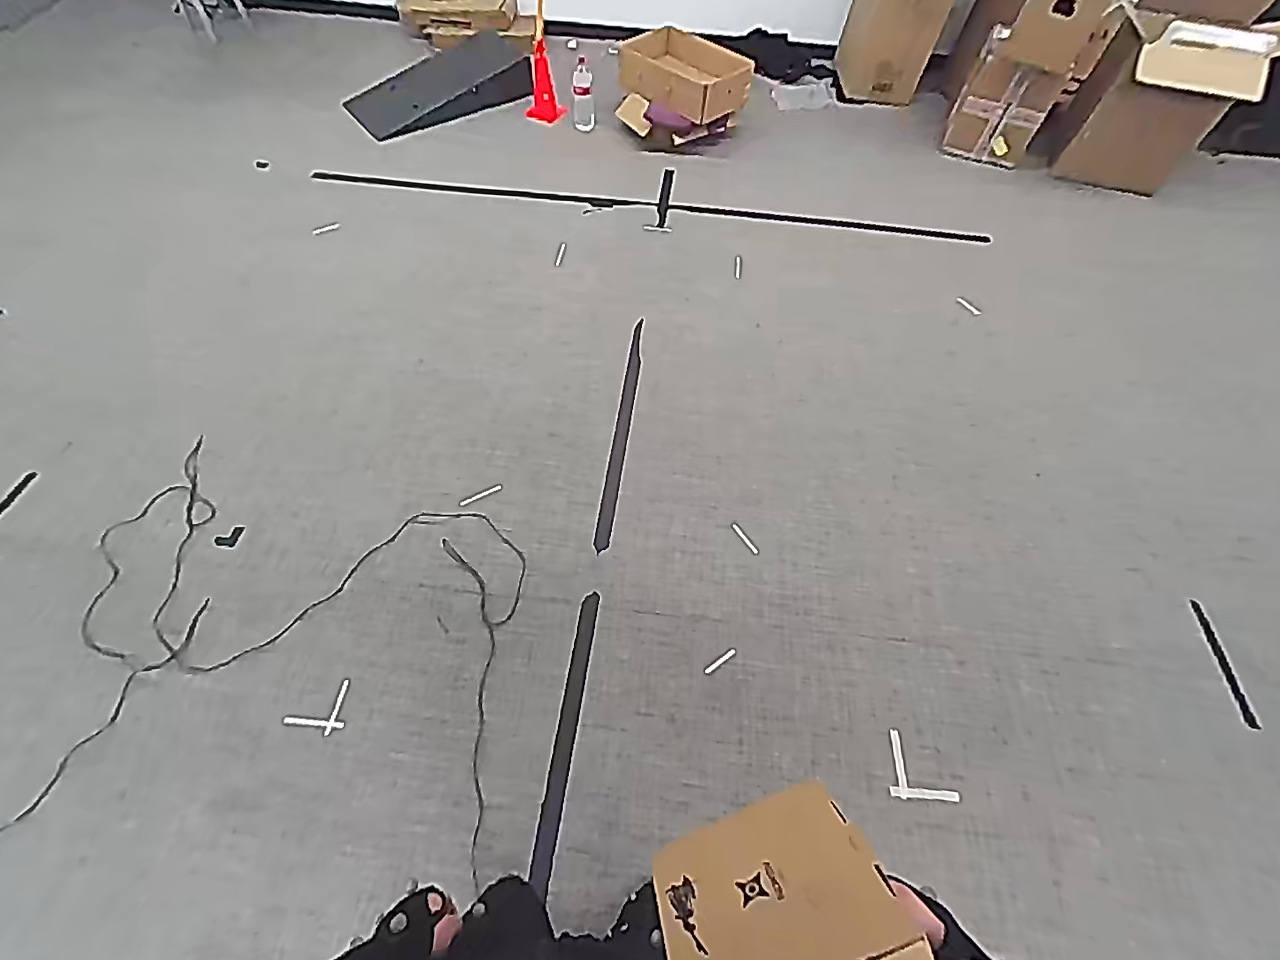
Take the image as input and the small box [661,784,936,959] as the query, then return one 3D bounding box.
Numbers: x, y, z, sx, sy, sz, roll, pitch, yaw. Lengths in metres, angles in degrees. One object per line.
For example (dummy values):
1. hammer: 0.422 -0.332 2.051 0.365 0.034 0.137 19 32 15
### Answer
1. small box: 0.136 0.410 0.456 0.179 0.168 0.176 -21 97 -5
